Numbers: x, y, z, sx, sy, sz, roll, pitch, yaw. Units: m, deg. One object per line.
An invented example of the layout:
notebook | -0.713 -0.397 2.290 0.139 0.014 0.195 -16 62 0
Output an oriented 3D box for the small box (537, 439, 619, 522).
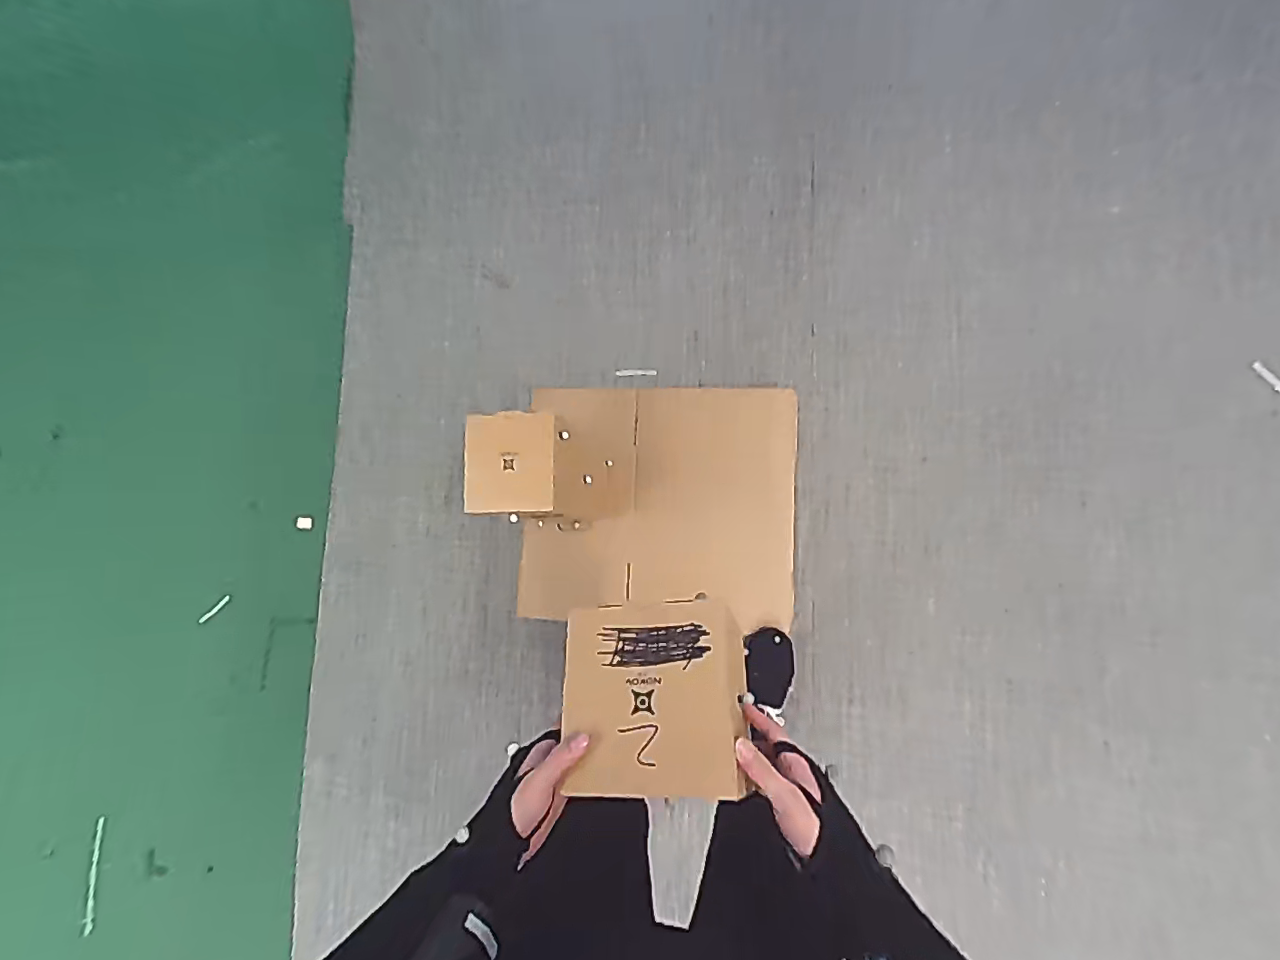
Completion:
small box | -0.153 0.007 1.321 0.168 0.176 0.179 -6 84 10

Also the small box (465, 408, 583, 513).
small box | -0.207 -0.027 1.002 0.168 0.176 0.179 -2 83 11

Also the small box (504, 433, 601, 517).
small box | -0.183 -0.009 1.162 0.168 0.176 0.179 -3 83 10
